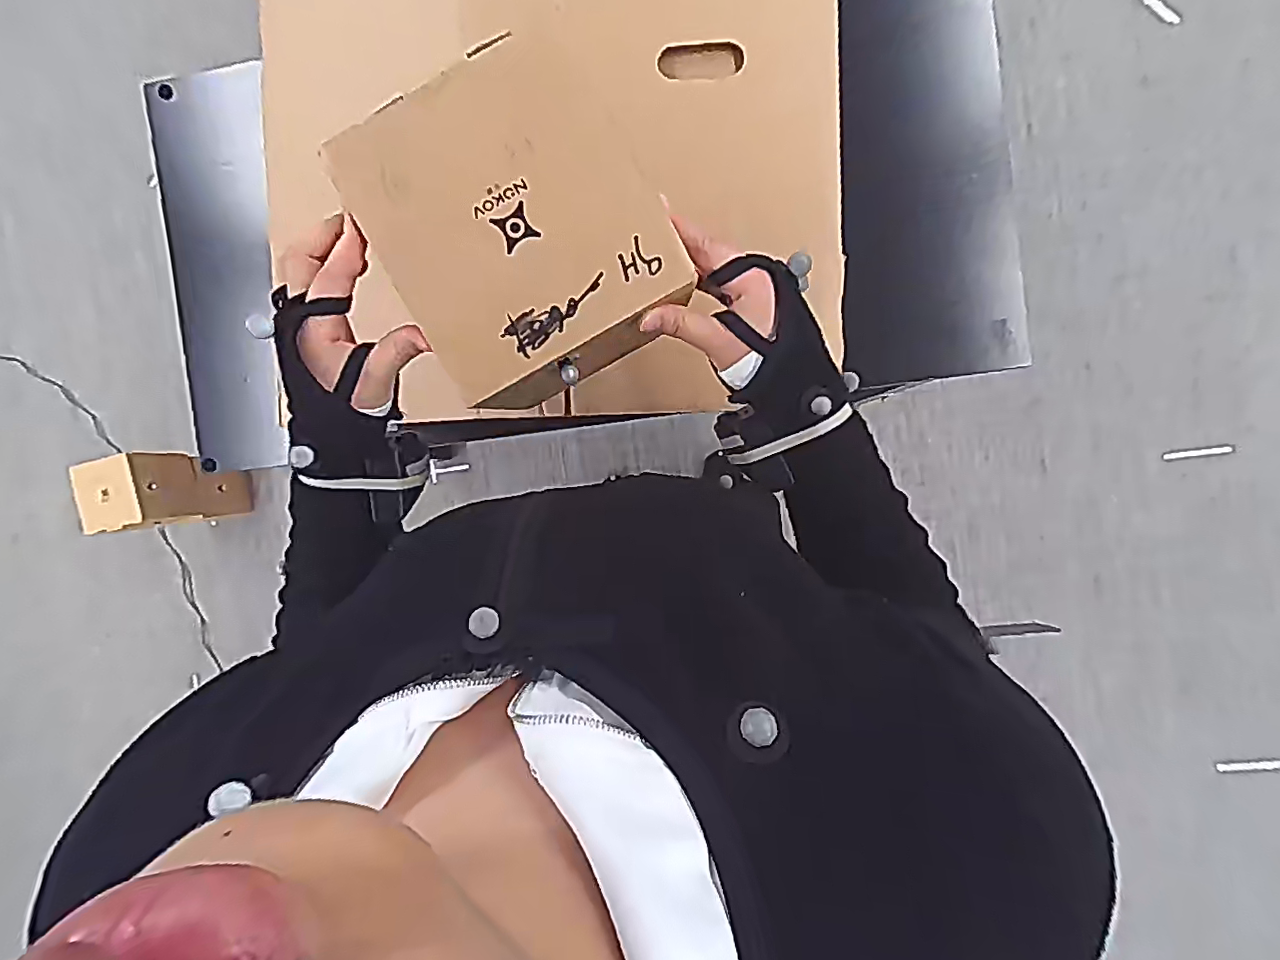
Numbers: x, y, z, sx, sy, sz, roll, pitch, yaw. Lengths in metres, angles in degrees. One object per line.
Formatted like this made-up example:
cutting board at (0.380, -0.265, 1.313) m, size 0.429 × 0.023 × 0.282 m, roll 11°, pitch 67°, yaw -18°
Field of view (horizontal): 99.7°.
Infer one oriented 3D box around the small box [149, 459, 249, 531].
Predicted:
small box at (-1.276, 0.039, 1.553) m, size 0.168 × 0.176 × 0.179 m, roll -11°, pitch 91°, yaw 6°

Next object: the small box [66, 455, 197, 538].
small box at (-1.296, 0.039, 1.392) m, size 0.168 × 0.176 × 0.179 m, roll -14°, pitch 89°, yaw 6°
